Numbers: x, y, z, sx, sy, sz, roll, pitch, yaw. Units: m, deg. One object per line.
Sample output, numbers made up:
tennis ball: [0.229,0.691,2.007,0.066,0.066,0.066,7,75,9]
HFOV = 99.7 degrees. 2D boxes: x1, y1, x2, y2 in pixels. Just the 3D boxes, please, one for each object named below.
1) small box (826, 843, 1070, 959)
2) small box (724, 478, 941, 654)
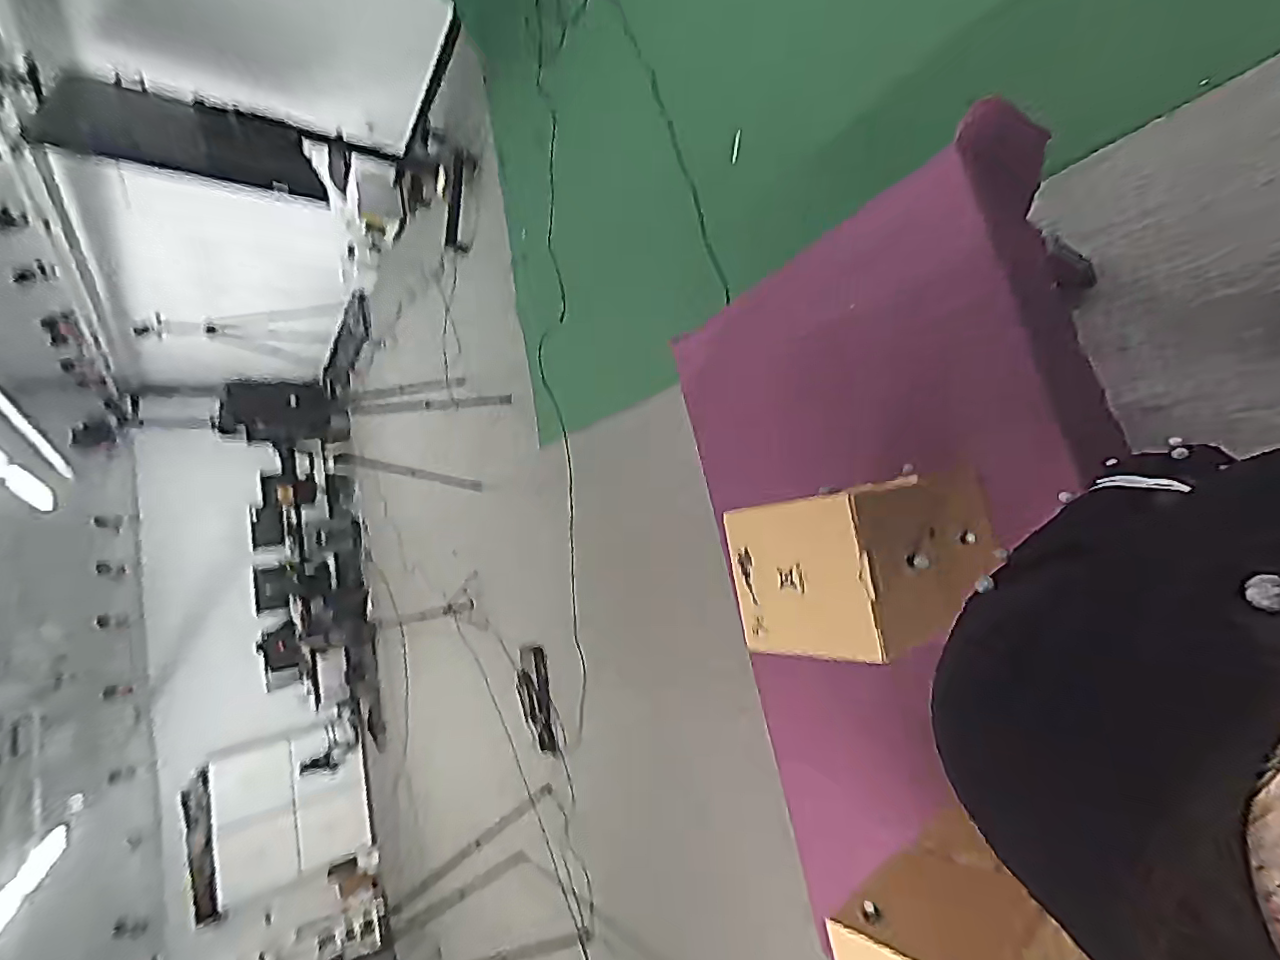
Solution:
small box: [0.333,0.521,0.565,0.179,0.176,0.168,-21,78,52]
small box: [0.231,0.094,0.641,0.179,0.176,0.168,-15,83,51]
